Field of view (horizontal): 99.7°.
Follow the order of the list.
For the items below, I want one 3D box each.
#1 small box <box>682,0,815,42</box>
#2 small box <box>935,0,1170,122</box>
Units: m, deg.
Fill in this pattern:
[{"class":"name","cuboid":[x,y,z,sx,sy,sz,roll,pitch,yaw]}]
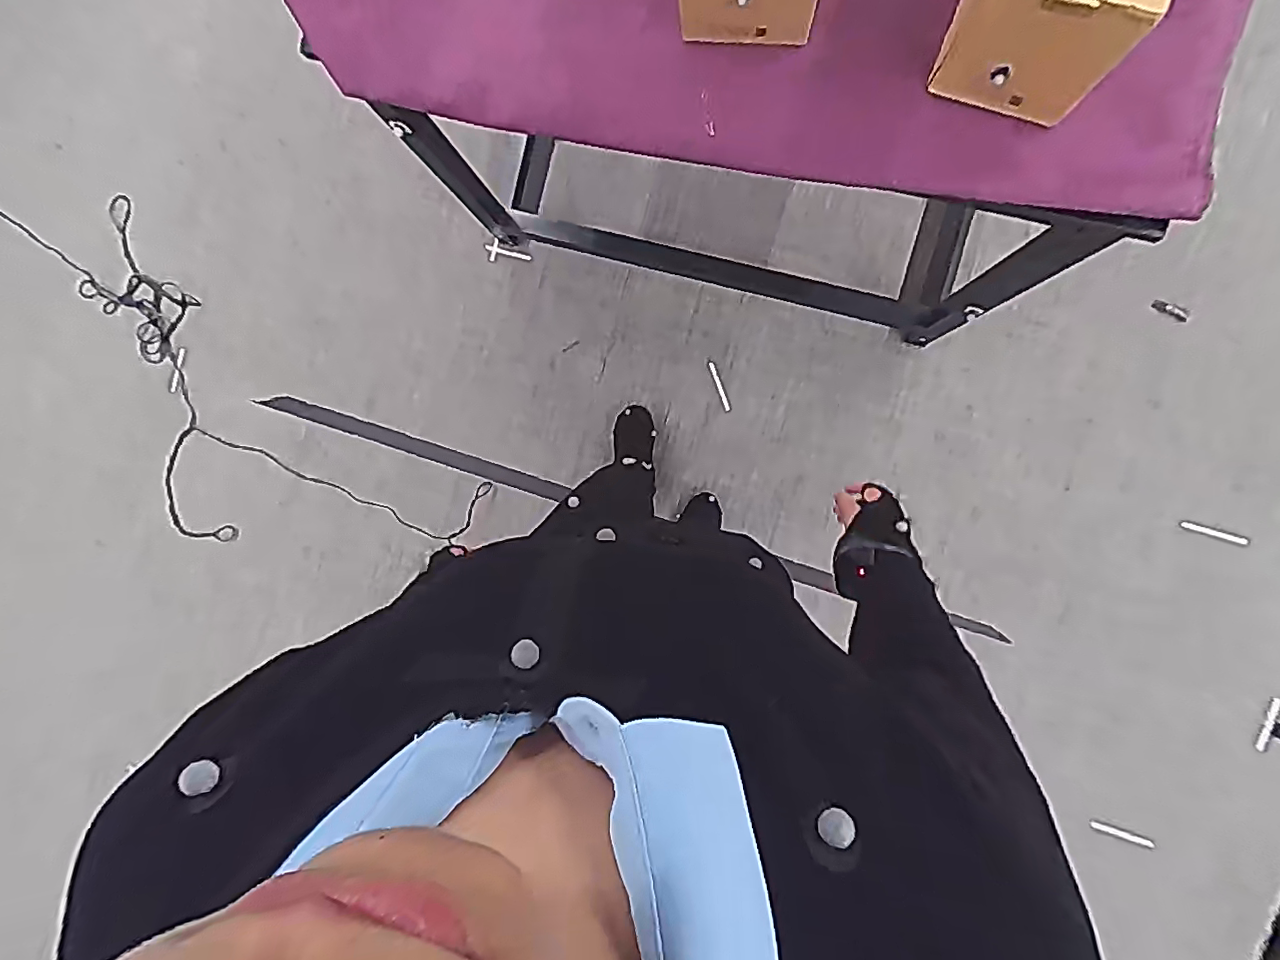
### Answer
[{"class":"small box","cuboid":[0.139,-0.663,0.635,0.168,0.176,0.179,7,92,6]},{"class":"small box","cuboid":[0.465,-0.553,0.601,0.168,0.176,0.179,21,93,6]}]
